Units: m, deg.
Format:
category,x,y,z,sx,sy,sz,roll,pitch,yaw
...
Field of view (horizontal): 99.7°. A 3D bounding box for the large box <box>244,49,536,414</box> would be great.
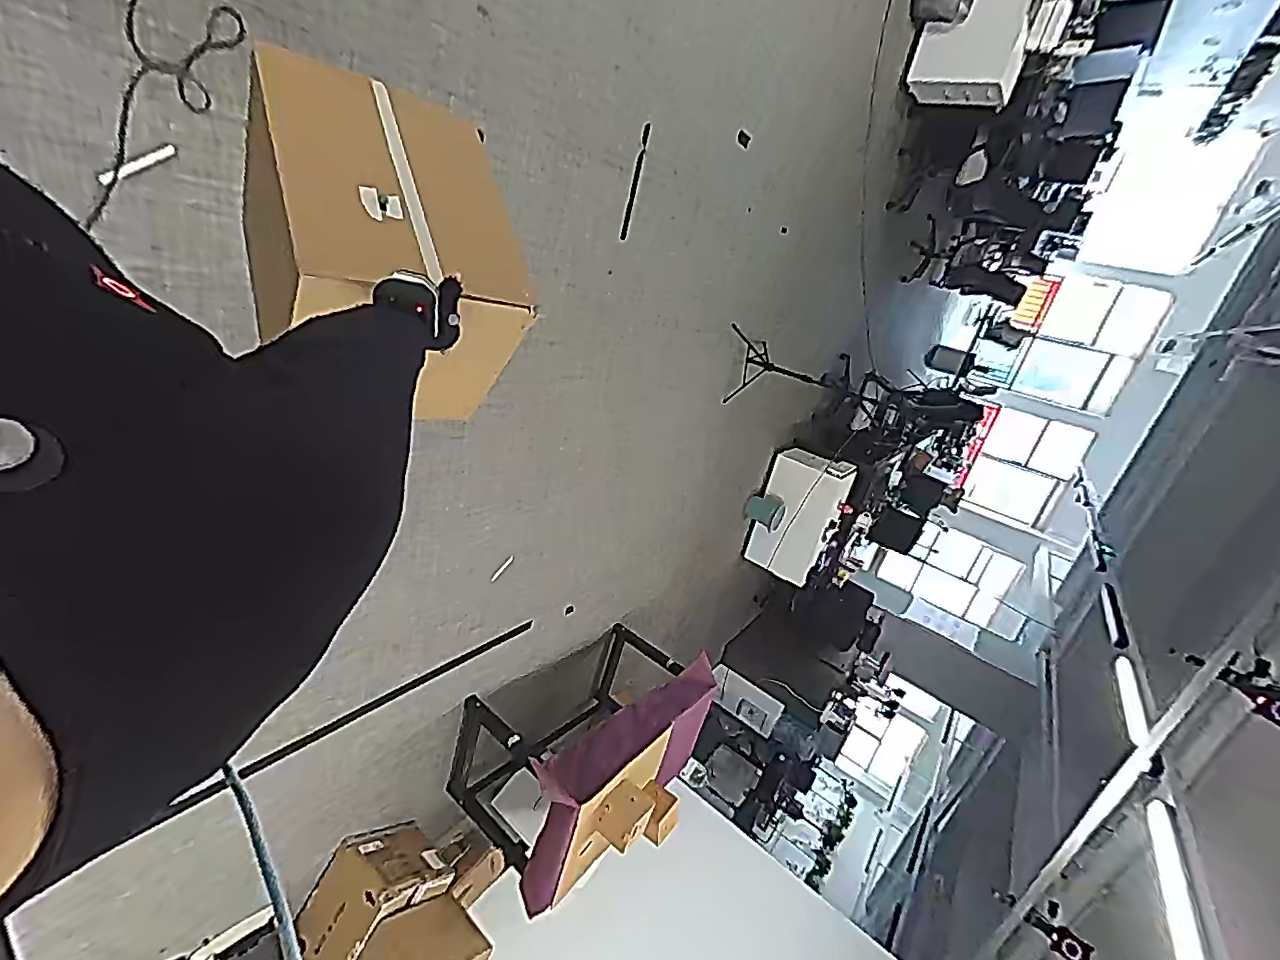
category,x,y,z,sx,sy,sz,roll,pitch,yaw
large box,-0.424,-0.357,0.883,0.320,0.408,0.320,-5,159,-41
